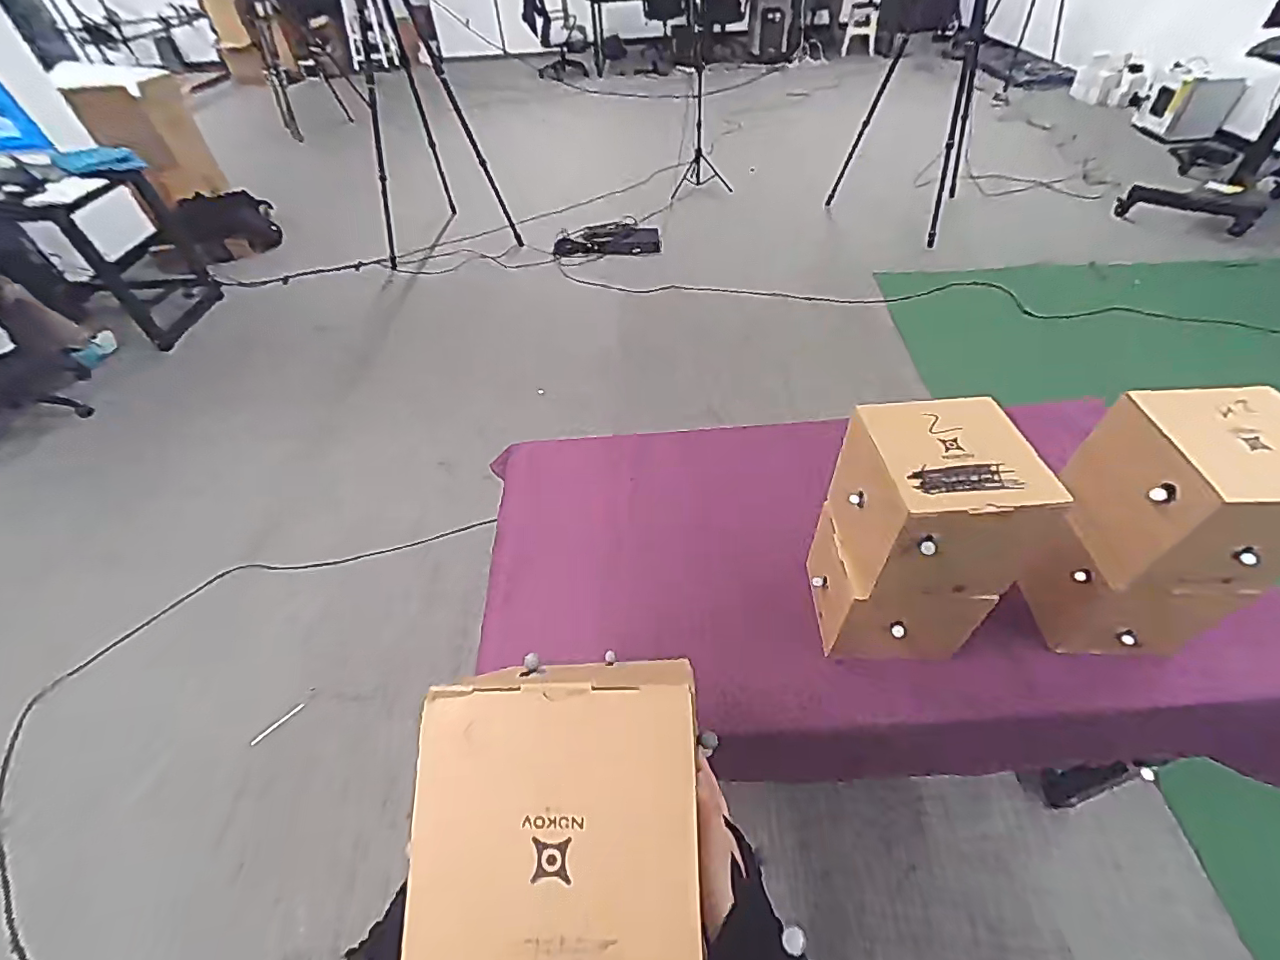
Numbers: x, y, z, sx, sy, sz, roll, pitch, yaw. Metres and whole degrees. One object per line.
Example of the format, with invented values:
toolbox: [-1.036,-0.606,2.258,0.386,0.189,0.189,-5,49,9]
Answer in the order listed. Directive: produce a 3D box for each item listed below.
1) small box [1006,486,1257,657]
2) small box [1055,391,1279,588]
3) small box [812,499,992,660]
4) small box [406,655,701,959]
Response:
small box: [0.662,0.128,0.763,0.168,0.176,0.179,0,47,4]
small box: [0.653,0.015,0.643,0.168,0.176,0.179,-1,47,3]
small box: [0.351,0.145,0.771,0.179,0.176,0.168,-1,47,4]
small box: [-0.042,0.221,0.390,0.168,0.176,0.179,-2,75,5]
